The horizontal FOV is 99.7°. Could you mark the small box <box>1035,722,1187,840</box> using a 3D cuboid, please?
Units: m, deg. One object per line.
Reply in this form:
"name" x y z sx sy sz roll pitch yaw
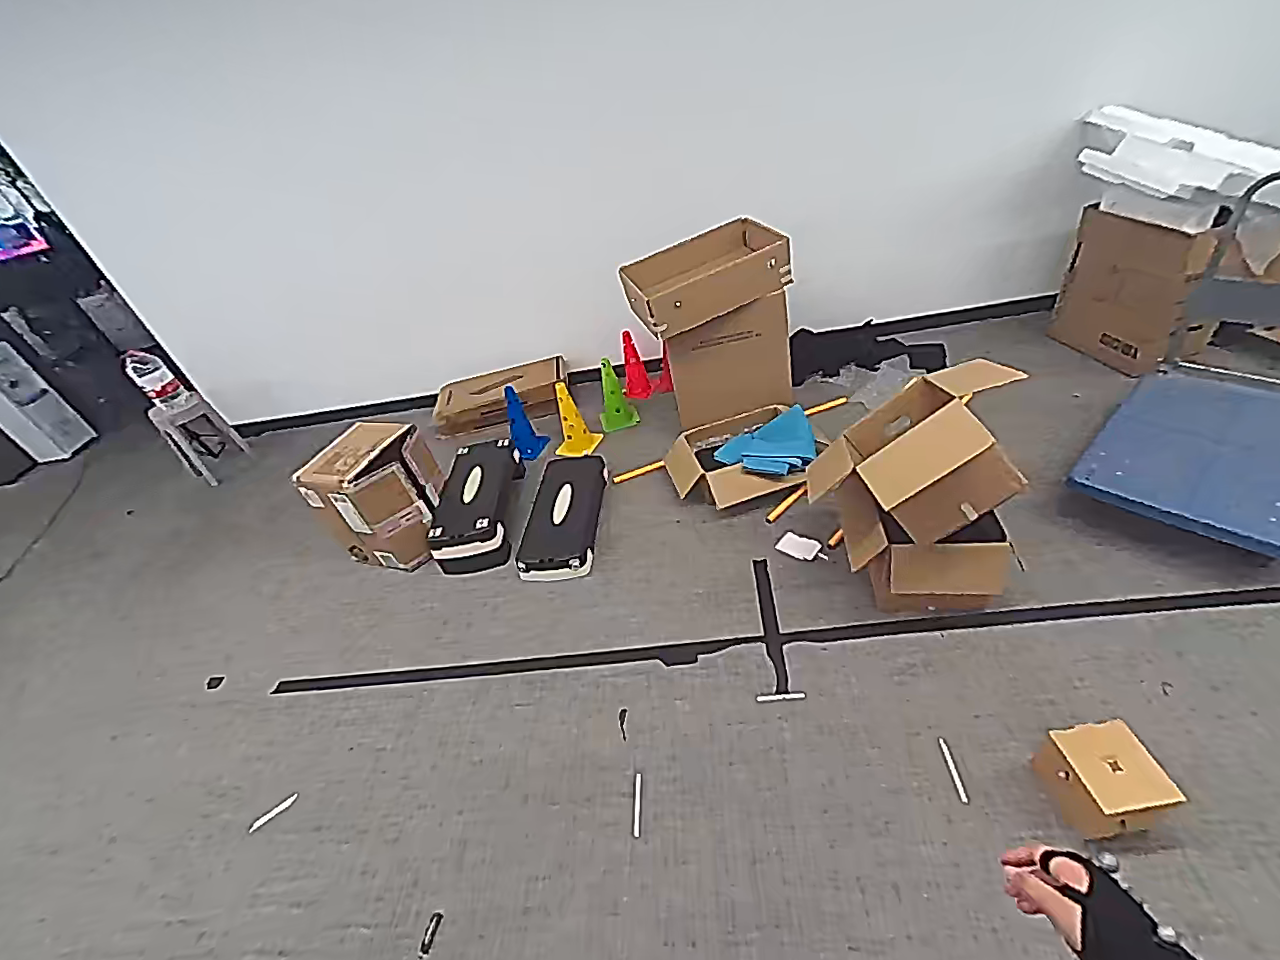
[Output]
"small box" 1.032 0.674 1.204 0.168 0.176 0.179 -12 38 3
